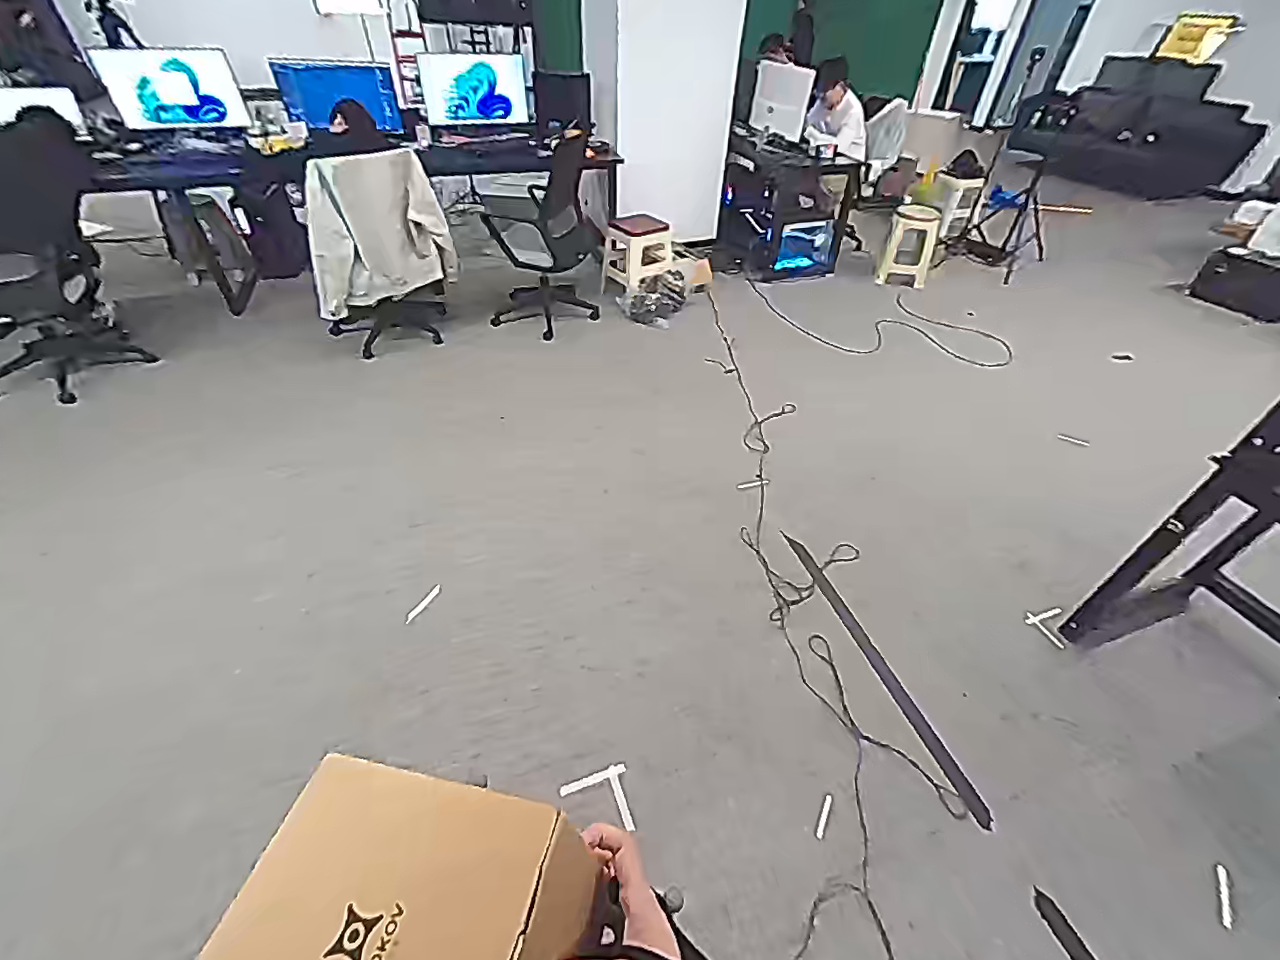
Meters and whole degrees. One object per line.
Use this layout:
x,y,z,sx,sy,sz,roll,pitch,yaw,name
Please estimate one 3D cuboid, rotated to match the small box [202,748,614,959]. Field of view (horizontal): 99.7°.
-0.130,0.299,0.335,0.179,0.176,0.168,4,43,16,small box
